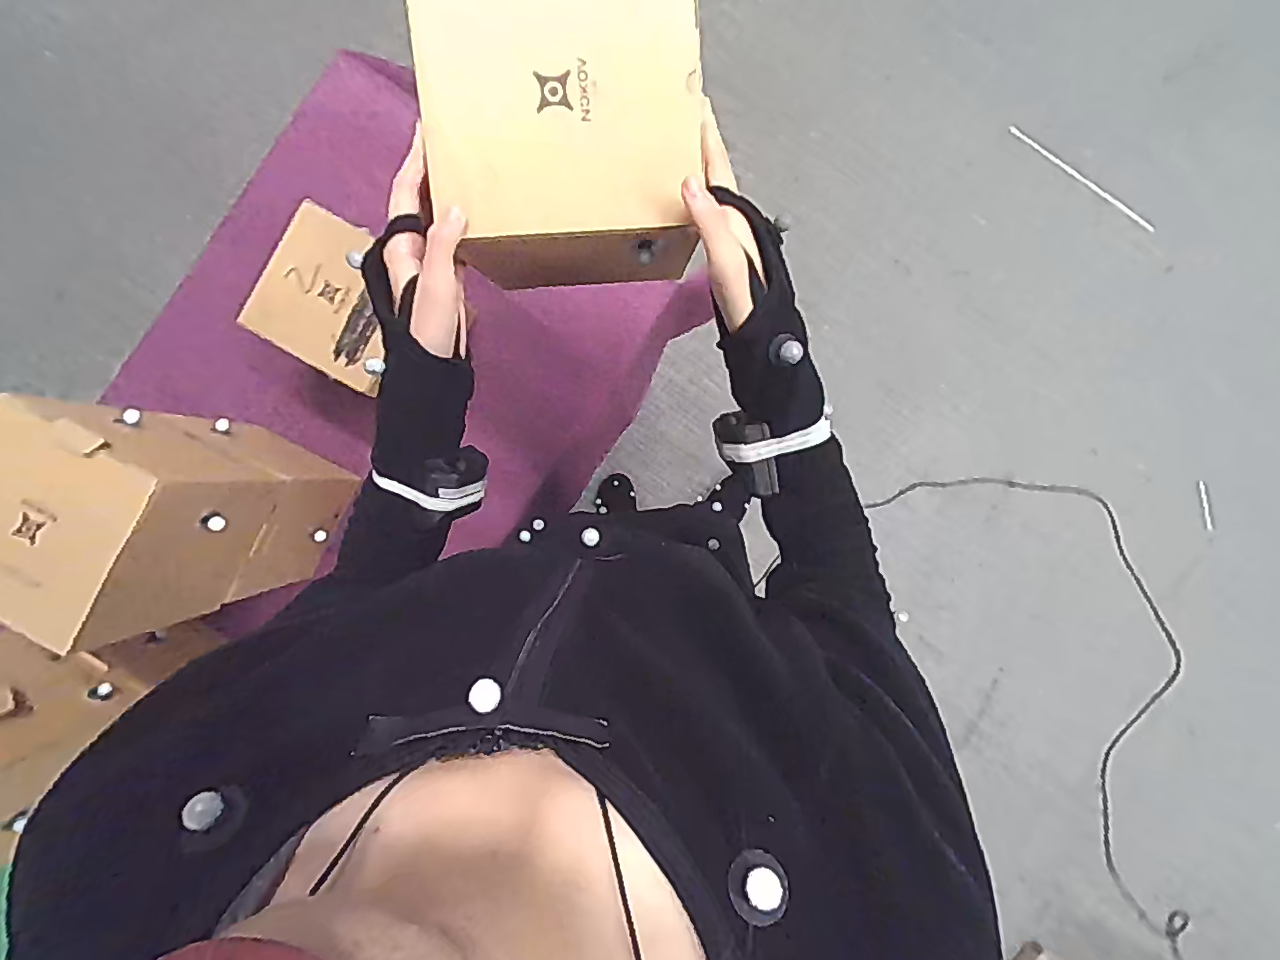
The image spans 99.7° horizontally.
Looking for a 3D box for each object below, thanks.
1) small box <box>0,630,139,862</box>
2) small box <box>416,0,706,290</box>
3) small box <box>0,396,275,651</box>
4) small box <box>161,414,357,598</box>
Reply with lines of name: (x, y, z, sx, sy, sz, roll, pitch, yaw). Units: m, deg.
small box: (-0.687, 0.284, 0.558, 0.168, 0.176, 0.179, 33, 92, 0)
small box: (-0.049, -0.248, 0.416, 0.179, 0.176, 0.168, -3, 99, -2)
small box: (-0.525, 0.037, 0.556, 0.168, 0.176, 0.179, 29, 92, 1)
small box: (-0.526, 0.031, 0.720, 0.179, 0.176, 0.168, 27, 91, -1)
